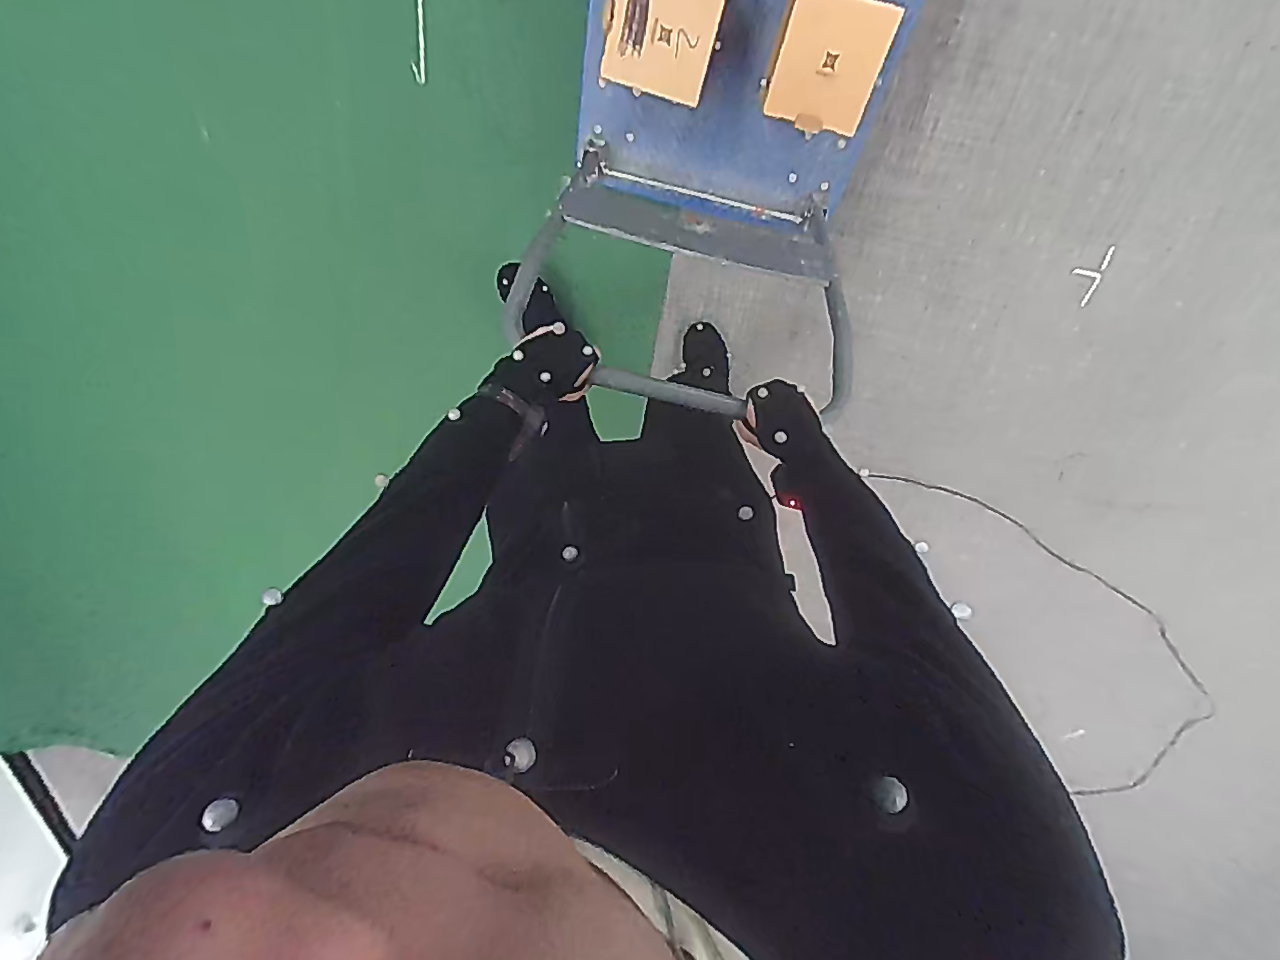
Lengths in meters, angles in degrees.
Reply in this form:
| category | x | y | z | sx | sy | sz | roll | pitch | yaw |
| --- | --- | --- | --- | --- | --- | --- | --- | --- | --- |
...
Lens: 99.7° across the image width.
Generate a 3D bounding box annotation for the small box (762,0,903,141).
| category | x | y | z | sx | sy | sz | roll | pitch | yaw |
| --- | --- | --- | --- | --- | --- | --- | --- | --- | --- |
| small box | 0.316 | -0.722 | 0.935 | 0.168 | 0.176 | 0.179 | 13 | 135 | -2 |
